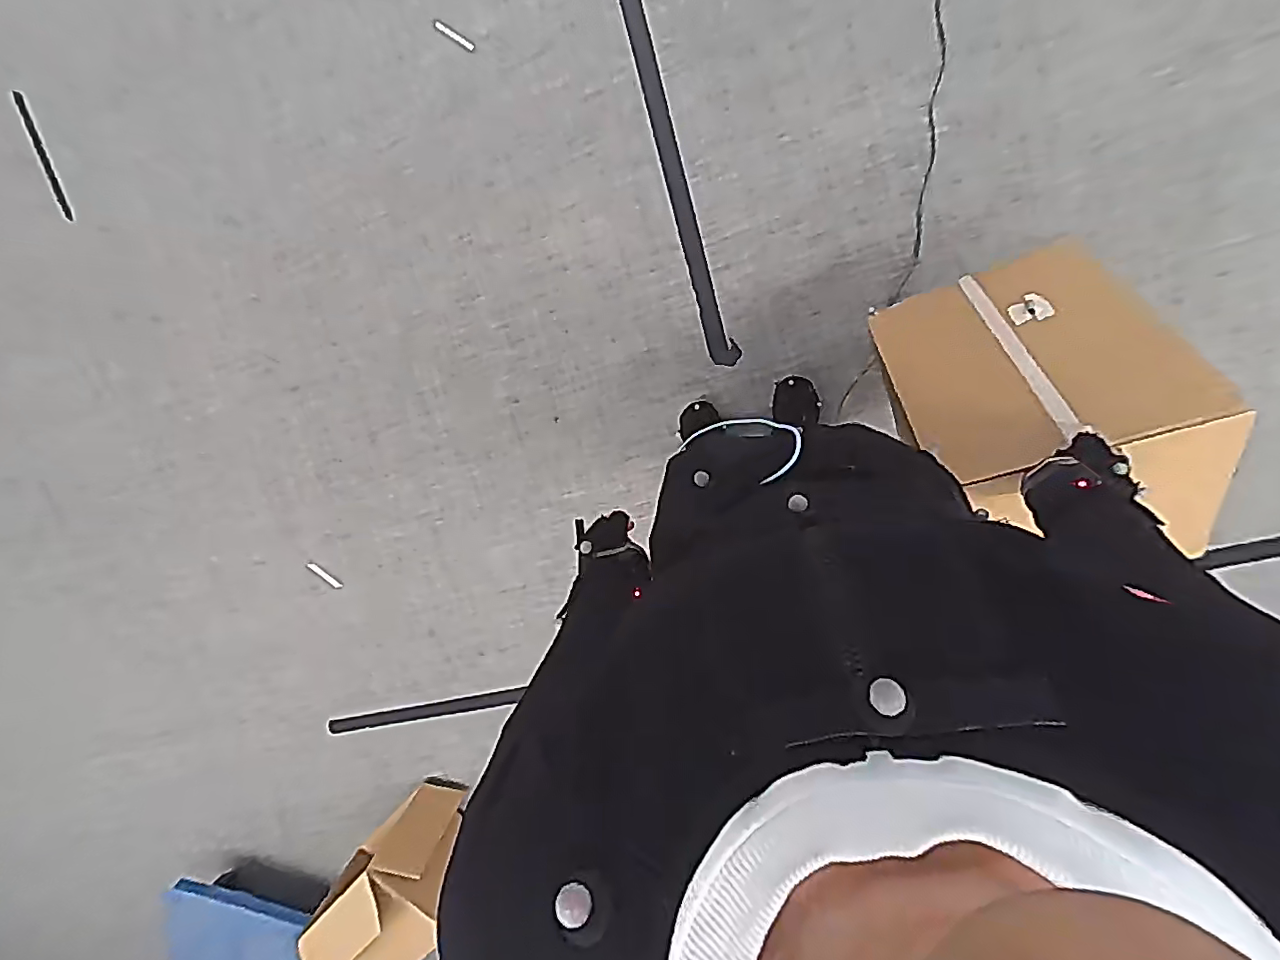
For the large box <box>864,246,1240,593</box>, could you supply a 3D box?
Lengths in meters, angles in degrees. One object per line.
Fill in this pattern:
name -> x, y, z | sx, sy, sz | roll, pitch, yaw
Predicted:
large box -> 0.600, -0.090, 0.870 | 0.320, 0.408, 0.320 | -18, 134, 21
